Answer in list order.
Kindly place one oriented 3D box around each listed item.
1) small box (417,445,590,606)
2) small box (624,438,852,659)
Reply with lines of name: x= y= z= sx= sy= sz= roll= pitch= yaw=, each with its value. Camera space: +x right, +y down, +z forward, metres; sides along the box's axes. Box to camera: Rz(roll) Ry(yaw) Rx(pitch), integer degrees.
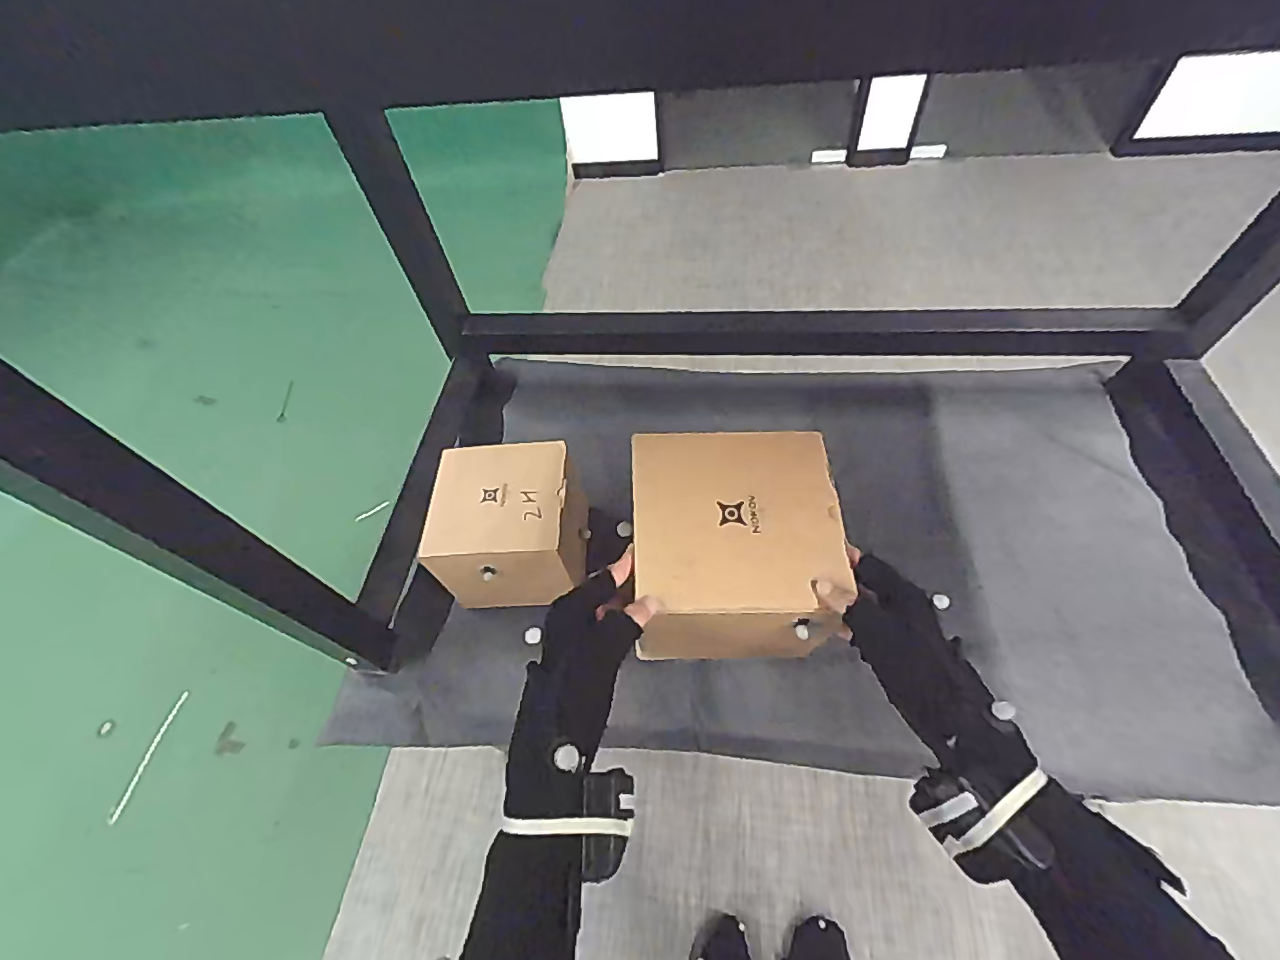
small box: x=-0.174 y=0.069 z=0.750 sx=0.179 sy=0.176 sz=0.168 roll=-3 pitch=57 yaw=4
small box: x=0.076 y=0.073 z=0.518 sx=0.179 sy=0.176 sz=0.168 roll=0 pitch=62 yaw=-1
